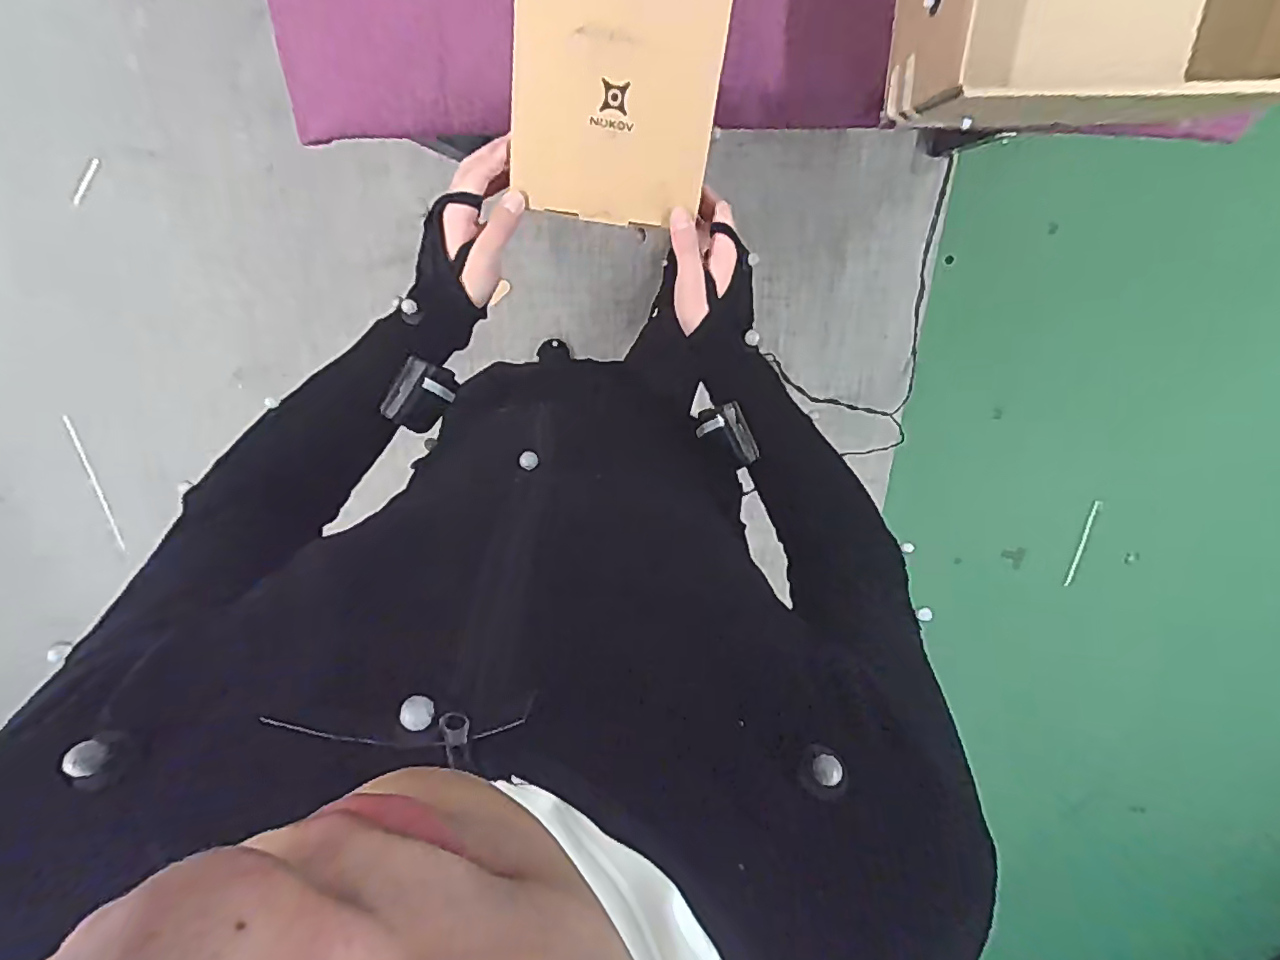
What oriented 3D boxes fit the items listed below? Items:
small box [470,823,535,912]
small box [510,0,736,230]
[{"bbox_3d":[-0.450,1.279,1.792,0.168,0.176,0.179,11,111,-3],"label":"small box"},{"bbox_3d":[-0.020,-0.343,0.505,0.168,0.176,0.179,7,115,-5],"label":"small box"}]
